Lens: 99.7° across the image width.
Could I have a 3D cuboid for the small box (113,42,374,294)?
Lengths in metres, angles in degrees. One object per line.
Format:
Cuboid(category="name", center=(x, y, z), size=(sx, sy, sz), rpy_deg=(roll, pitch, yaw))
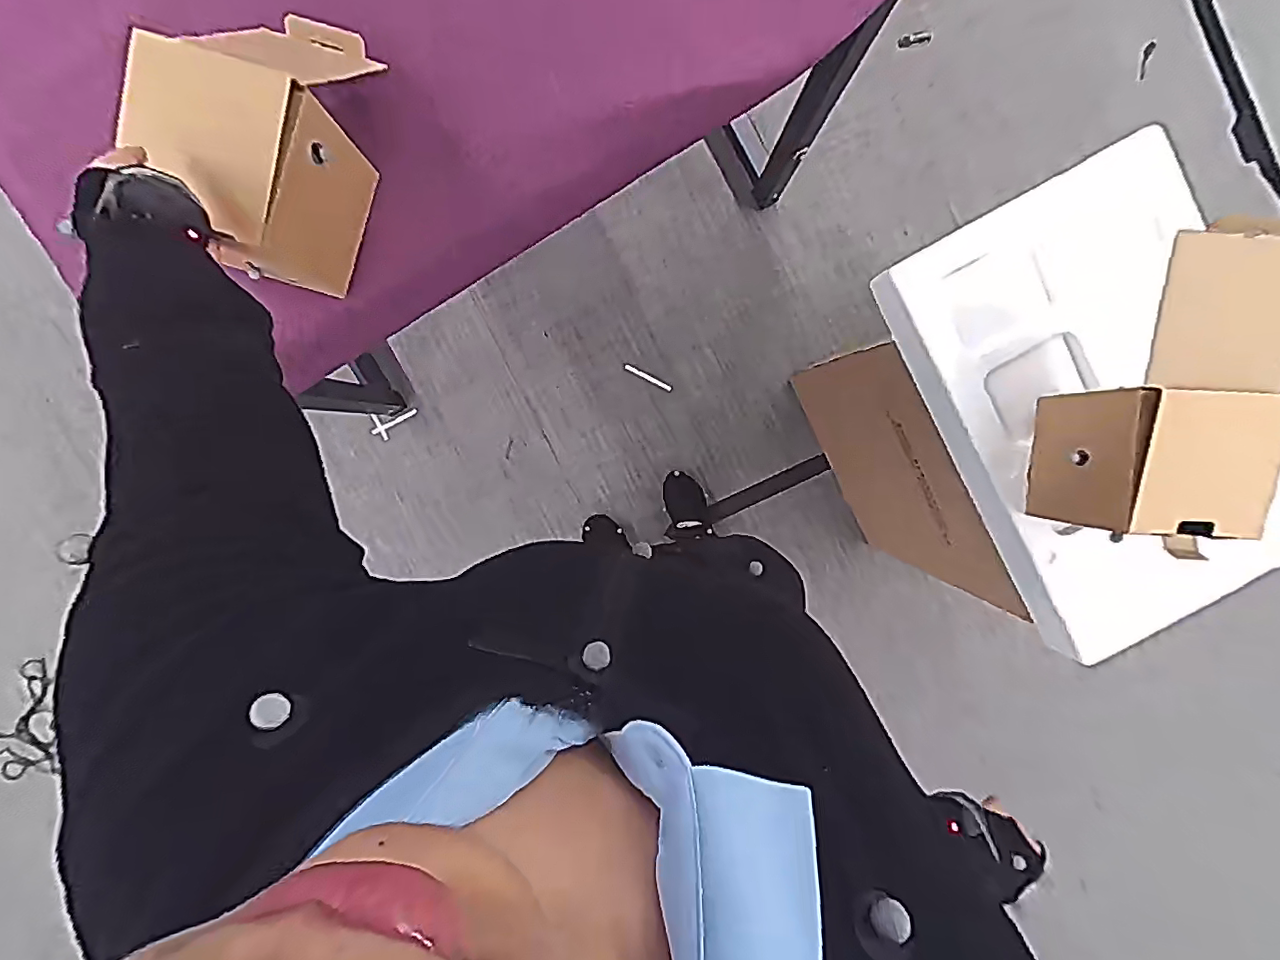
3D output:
Cuboid(category="small box", center=(-0.447, -0.349, 0.641), size=(0.168, 0.176, 0.179), rpy_deg=(17, 91, -1))
